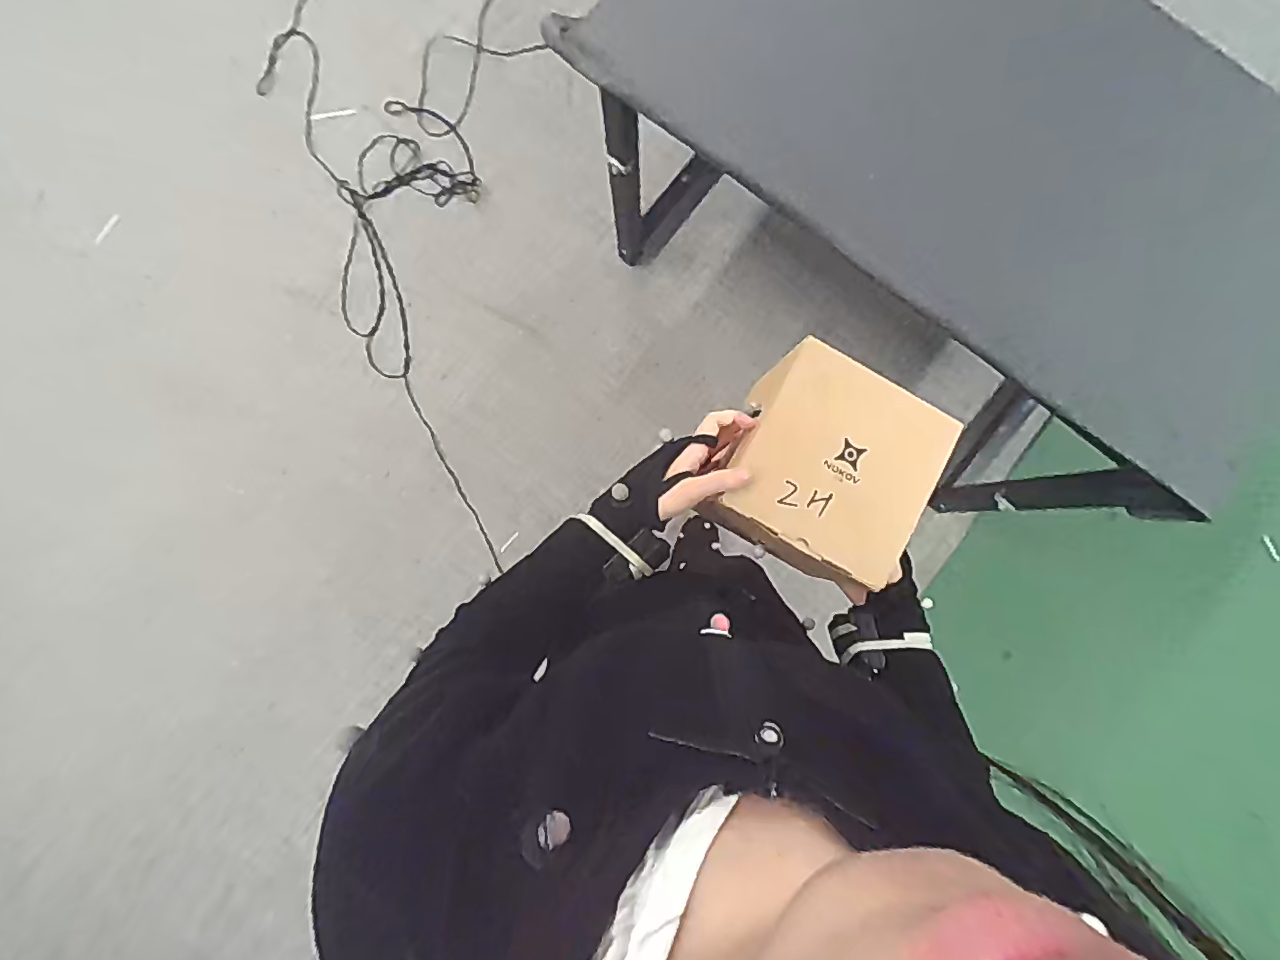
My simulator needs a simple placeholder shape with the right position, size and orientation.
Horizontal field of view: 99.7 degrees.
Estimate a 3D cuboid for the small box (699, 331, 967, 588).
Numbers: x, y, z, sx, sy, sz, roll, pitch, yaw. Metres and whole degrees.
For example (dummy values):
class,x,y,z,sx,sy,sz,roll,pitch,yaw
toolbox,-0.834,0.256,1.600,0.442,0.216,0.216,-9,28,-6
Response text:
class,x,y,z,sx,sy,sz,roll,pitch,yaw
small box,0.176,-0.012,0.550,0.168,0.176,0.179,29,82,-2
